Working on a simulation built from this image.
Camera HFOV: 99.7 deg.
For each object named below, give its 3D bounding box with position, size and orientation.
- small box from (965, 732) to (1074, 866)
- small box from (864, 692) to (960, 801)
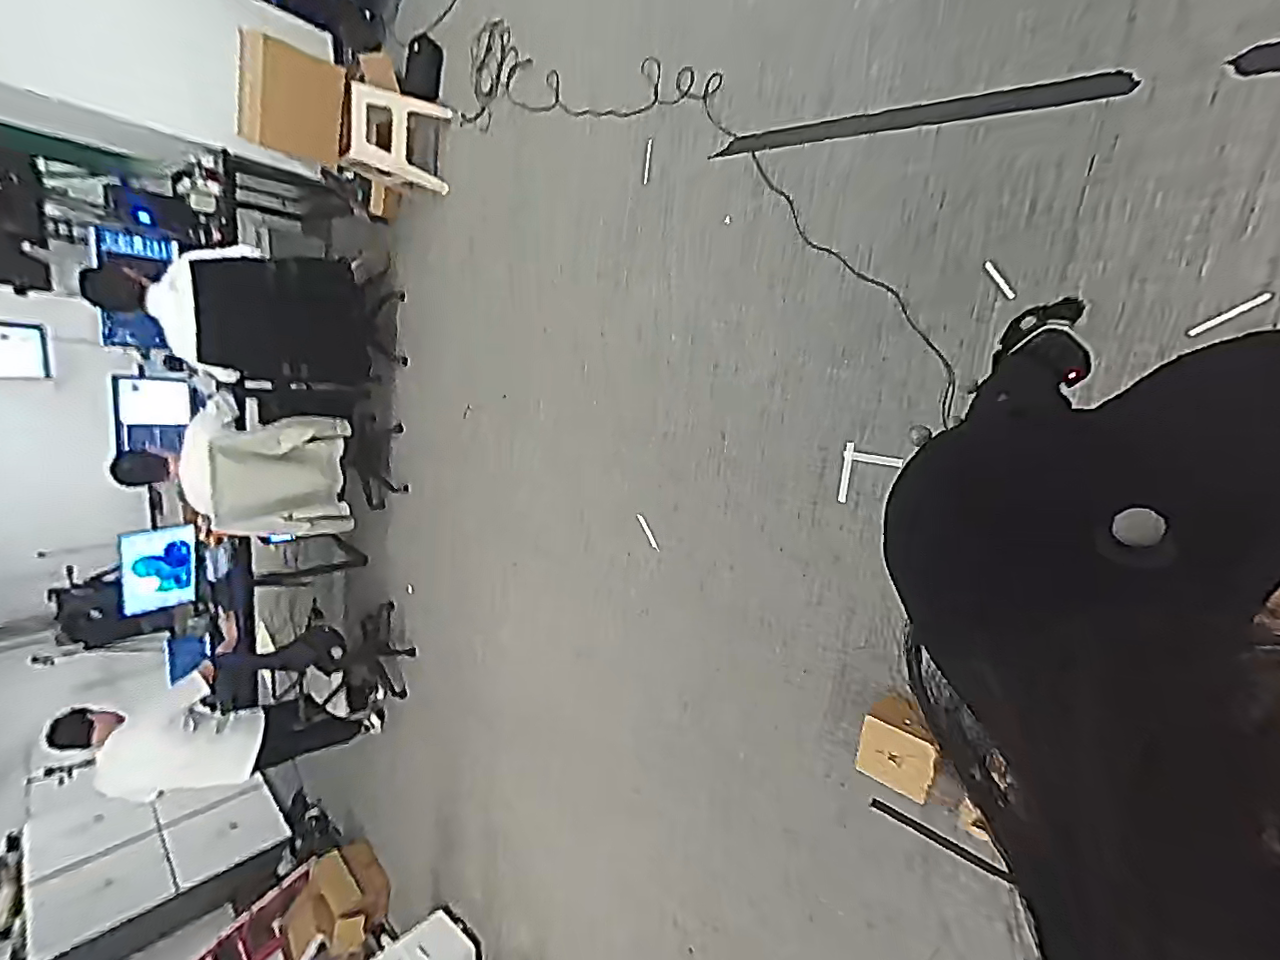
[{"bbox_3d":[0.896,0.738,1.272,0.168,0.176,0.179,19,107,39],"label":"small box"},{"bbox_3d":[0.721,0.689,1.426,0.179,0.176,0.168,15,104,41],"label":"small box"}]
